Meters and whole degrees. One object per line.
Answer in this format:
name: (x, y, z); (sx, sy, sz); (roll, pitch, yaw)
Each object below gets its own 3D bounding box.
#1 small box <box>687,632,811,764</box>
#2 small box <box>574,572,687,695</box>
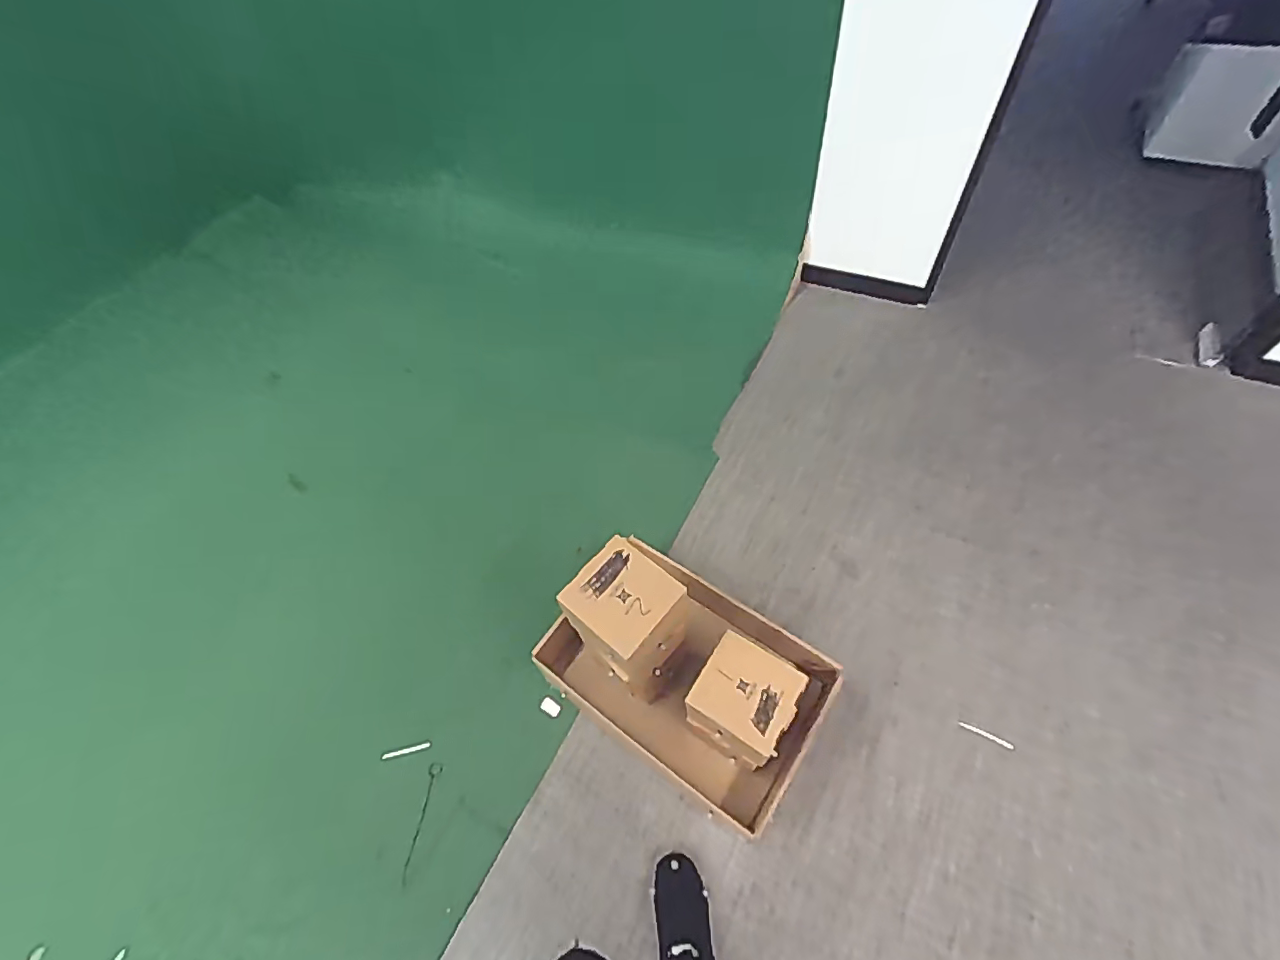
small box: (0.213, 0.437, 1.071); (0.179, 0.176, 0.168); (27, 65, 24)
small box: (-0.016, 0.337, 1.171); (0.168, 0.176, 0.179); (-41, 64, -18)
